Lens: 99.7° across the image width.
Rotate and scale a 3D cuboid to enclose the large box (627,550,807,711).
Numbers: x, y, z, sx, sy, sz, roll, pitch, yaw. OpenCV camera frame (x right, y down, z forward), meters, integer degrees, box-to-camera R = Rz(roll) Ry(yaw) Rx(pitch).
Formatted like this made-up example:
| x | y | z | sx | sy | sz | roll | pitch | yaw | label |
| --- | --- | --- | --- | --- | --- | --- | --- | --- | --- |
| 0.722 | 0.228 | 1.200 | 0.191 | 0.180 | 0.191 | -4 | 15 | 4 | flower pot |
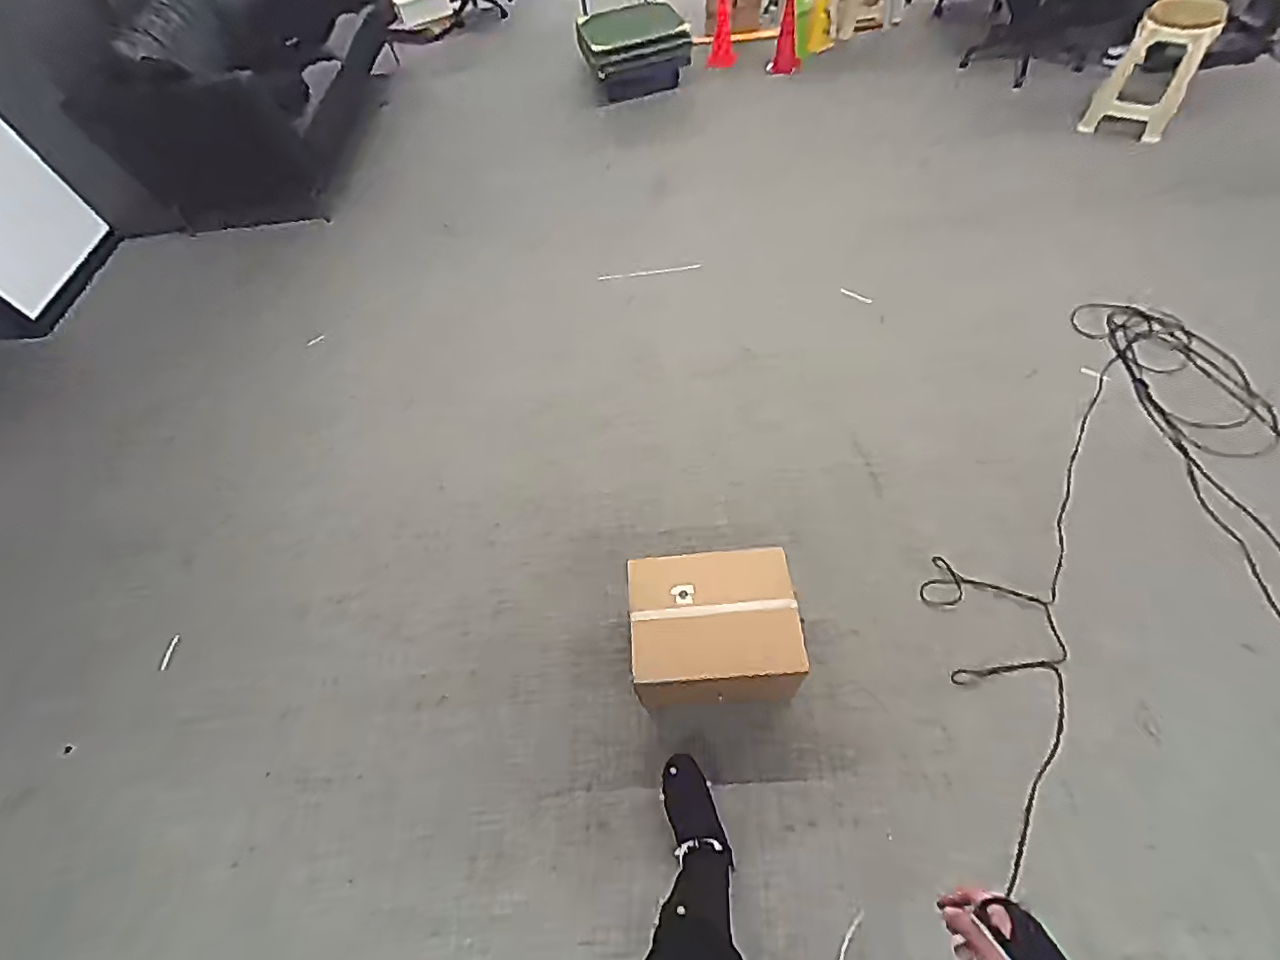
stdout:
| x | y | z | sx | sy | sz | roll | pitch | yaw | label |
| --- | --- | --- | --- | --- | --- | --- | --- | --- | --- |
| 0.192 | 0.412 | 1.444 | 0.408 | 0.320 | 0.320 | -7 | 56 | 4 | large box |
